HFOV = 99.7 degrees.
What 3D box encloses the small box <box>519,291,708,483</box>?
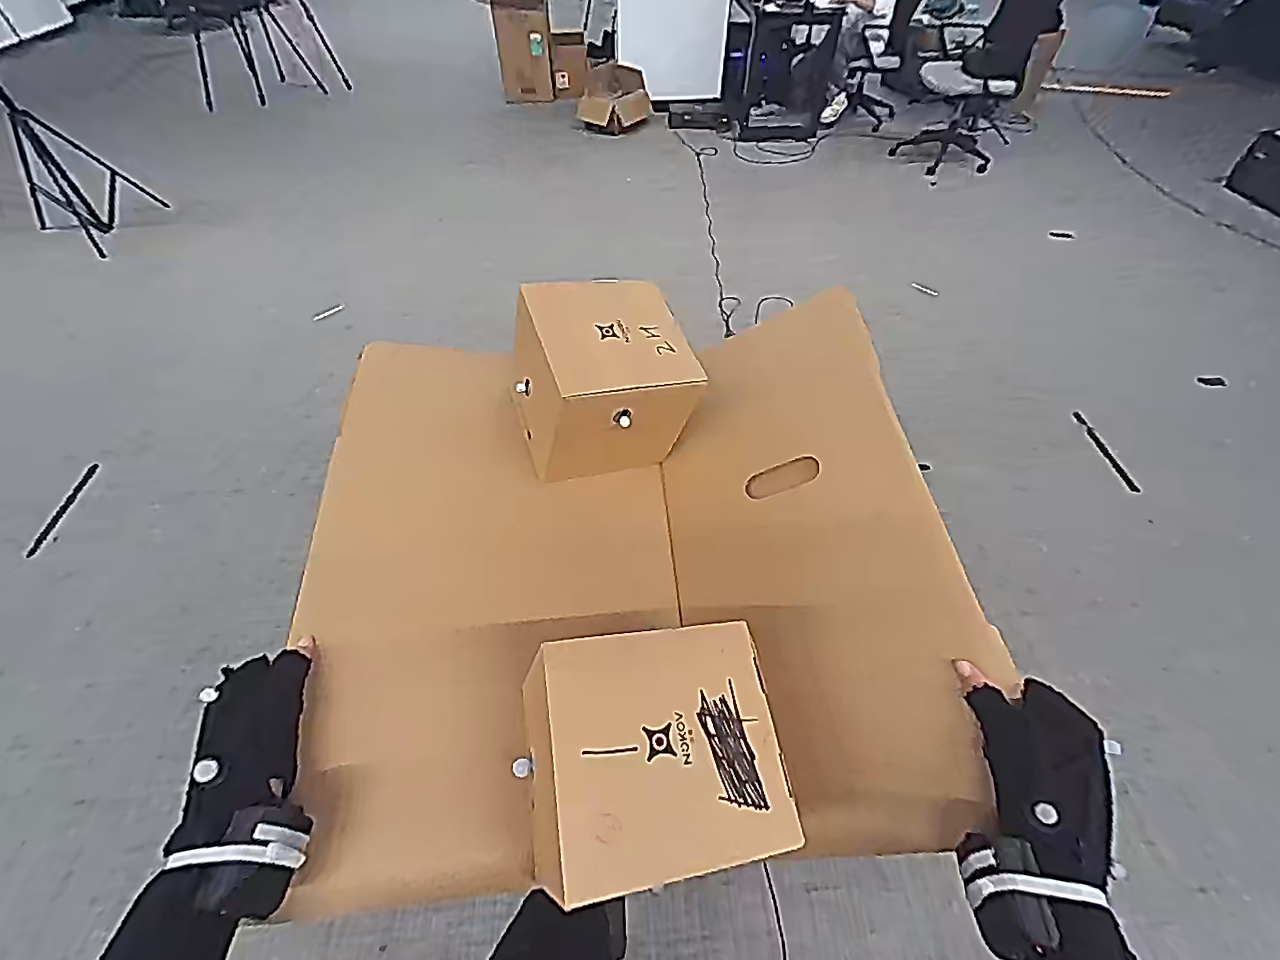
[{"bbox_3d":[-0.048,-0.112,0.673,0.179,0.176,0.168,-10,62,-24],"label":"small box"}]
